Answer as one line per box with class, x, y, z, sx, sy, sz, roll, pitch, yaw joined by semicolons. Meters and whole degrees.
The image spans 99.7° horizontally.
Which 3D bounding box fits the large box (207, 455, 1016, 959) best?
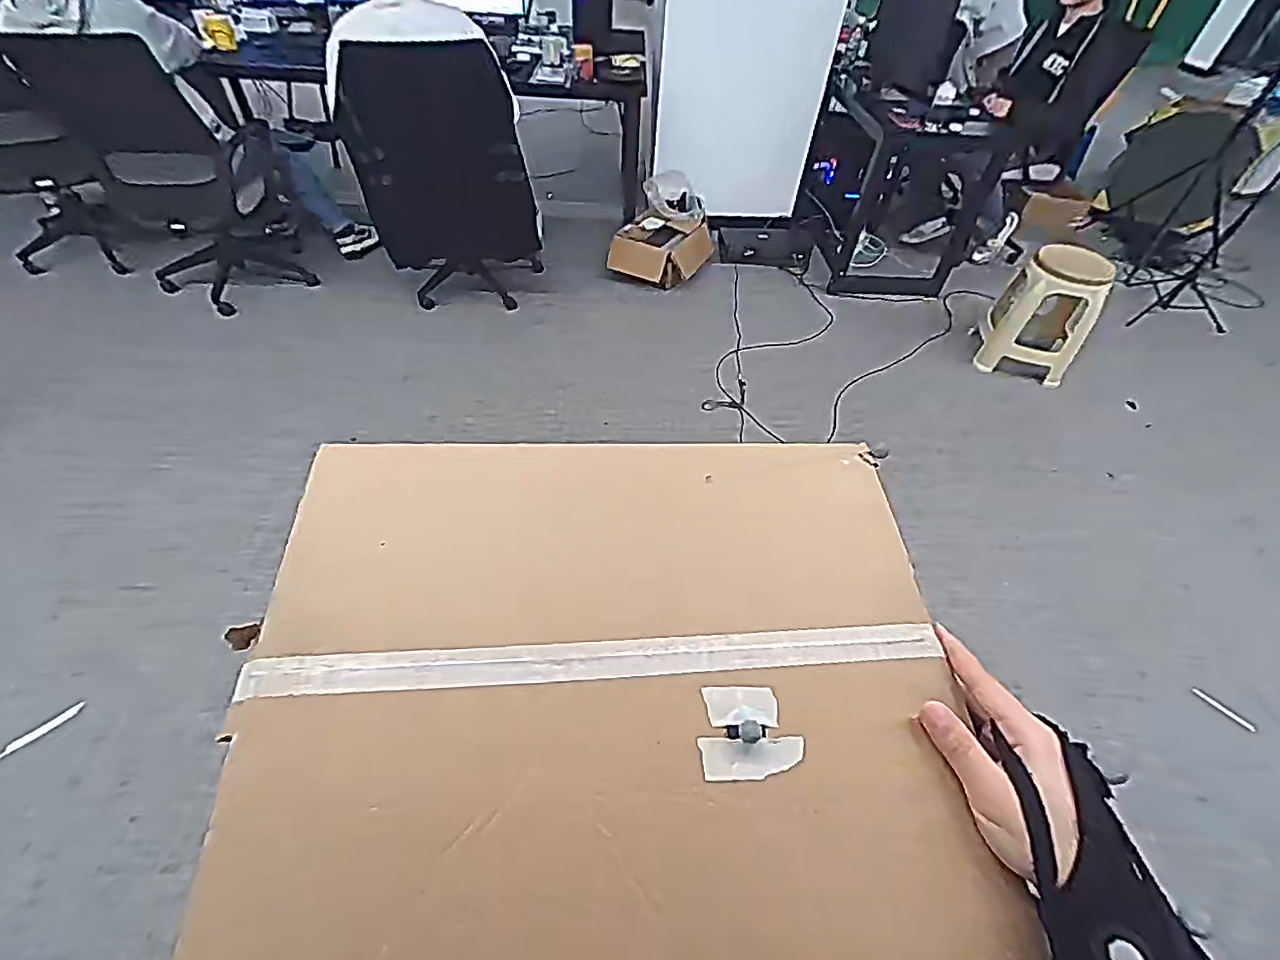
large box;-0.027;0.191;0.457;0.408;0.320;0.320;0;59;-8
